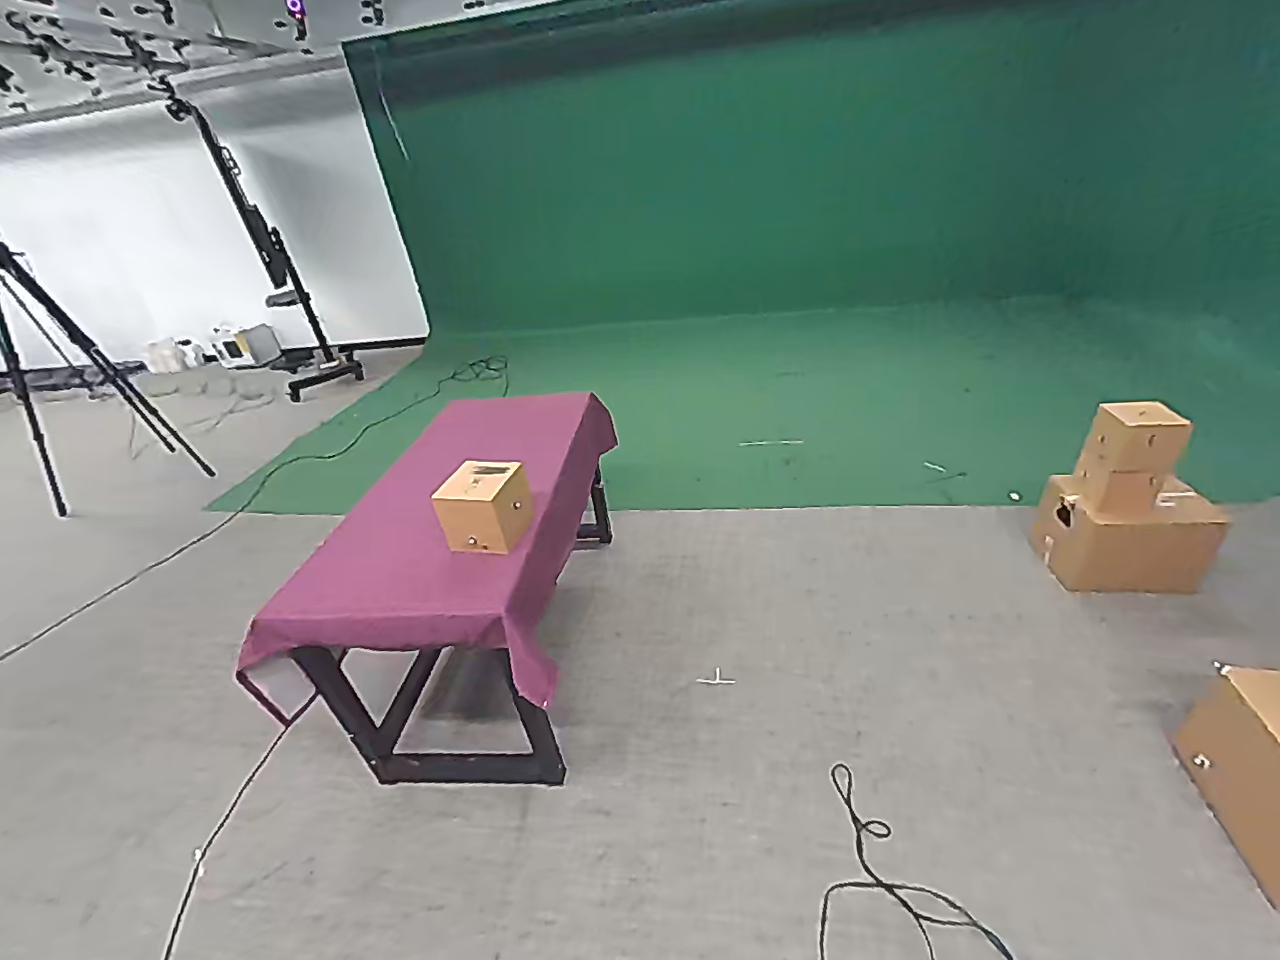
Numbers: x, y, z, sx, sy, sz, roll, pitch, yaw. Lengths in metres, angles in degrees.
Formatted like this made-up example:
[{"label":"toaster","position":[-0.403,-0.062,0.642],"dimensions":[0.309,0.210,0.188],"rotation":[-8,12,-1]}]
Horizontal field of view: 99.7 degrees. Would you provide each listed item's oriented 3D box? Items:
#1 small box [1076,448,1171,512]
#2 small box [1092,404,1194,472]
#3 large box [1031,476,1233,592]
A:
[{"label":"small box","position":[1.640,-0.001,1.851],"dimensions":[0.179,0.176,0.168],"rotation":[0,32,10]},{"label":"small box","position":[1.619,-0.136,1.759],"dimensions":[0.179,0.176,0.168],"rotation":[0,33,10]},{"label":"large box","position":[1.754,0.196,1.974],"dimensions":[0.408,0.320,0.320],"rotation":[-1,32,9]}]
